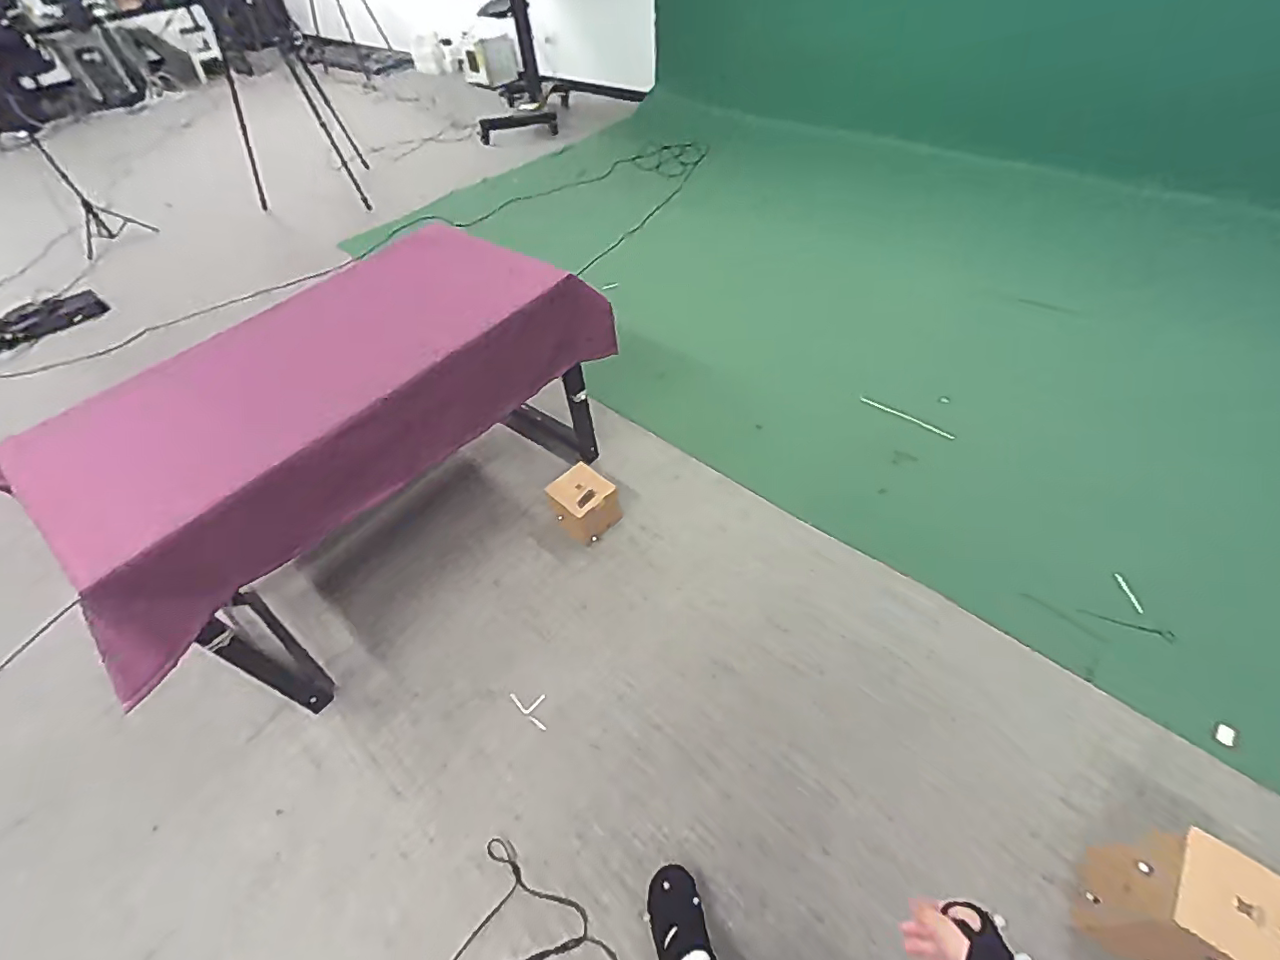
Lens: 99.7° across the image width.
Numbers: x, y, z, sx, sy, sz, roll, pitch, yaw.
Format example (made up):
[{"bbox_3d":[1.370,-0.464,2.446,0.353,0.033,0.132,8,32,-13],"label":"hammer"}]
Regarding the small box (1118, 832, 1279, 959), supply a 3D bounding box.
[{"bbox_3d":[0.950,0.733,0.896,0.179,0.176,0.168,30,60,28],"label":"small box"}]
